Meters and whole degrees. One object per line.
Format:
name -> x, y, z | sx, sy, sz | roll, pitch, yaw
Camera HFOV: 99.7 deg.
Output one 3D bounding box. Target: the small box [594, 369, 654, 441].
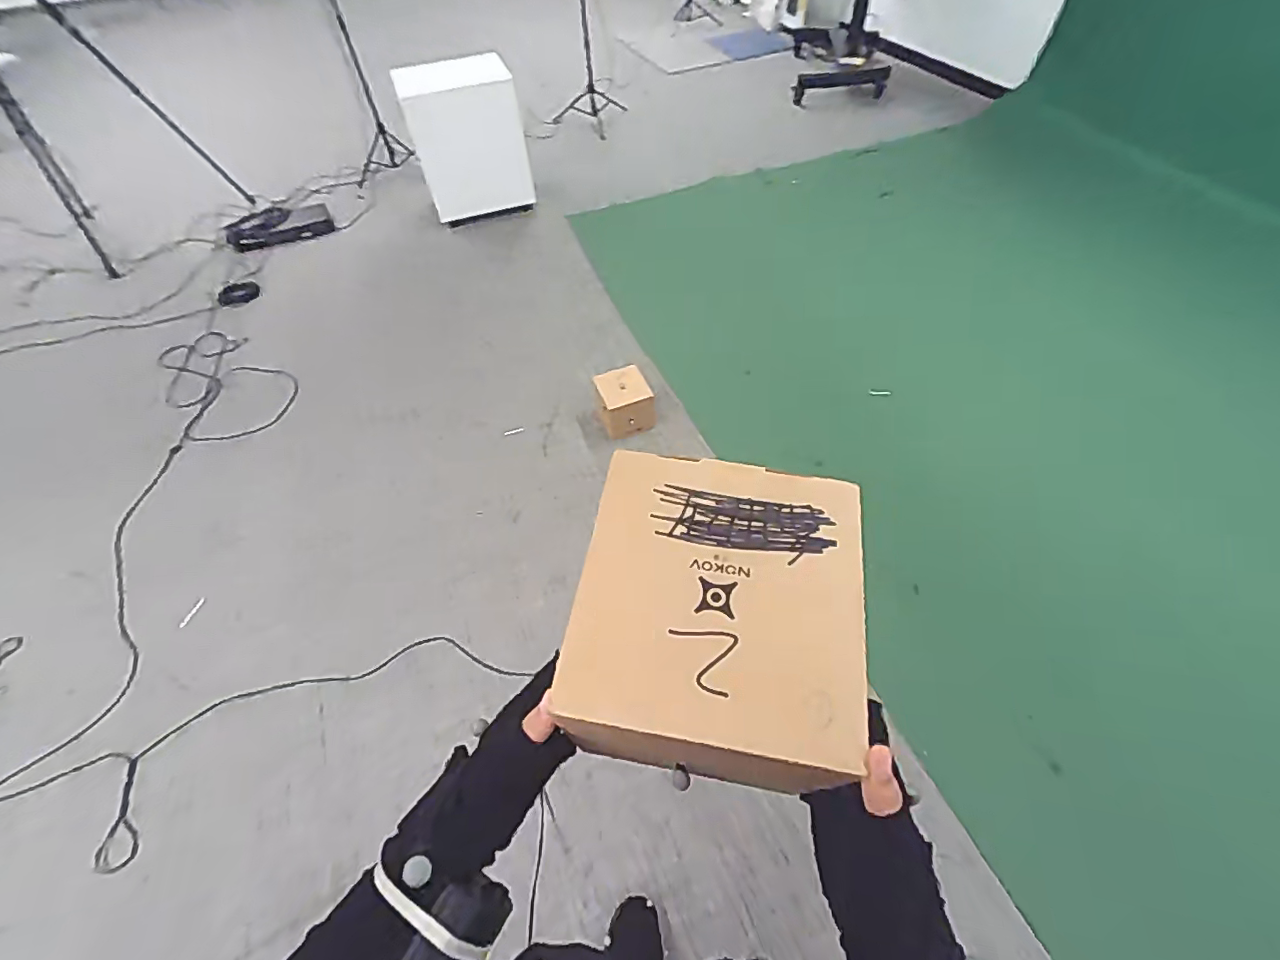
small box -> -0.053, -0.258, 1.921 | 0.168, 0.176, 0.179 | -19, 55, -12
